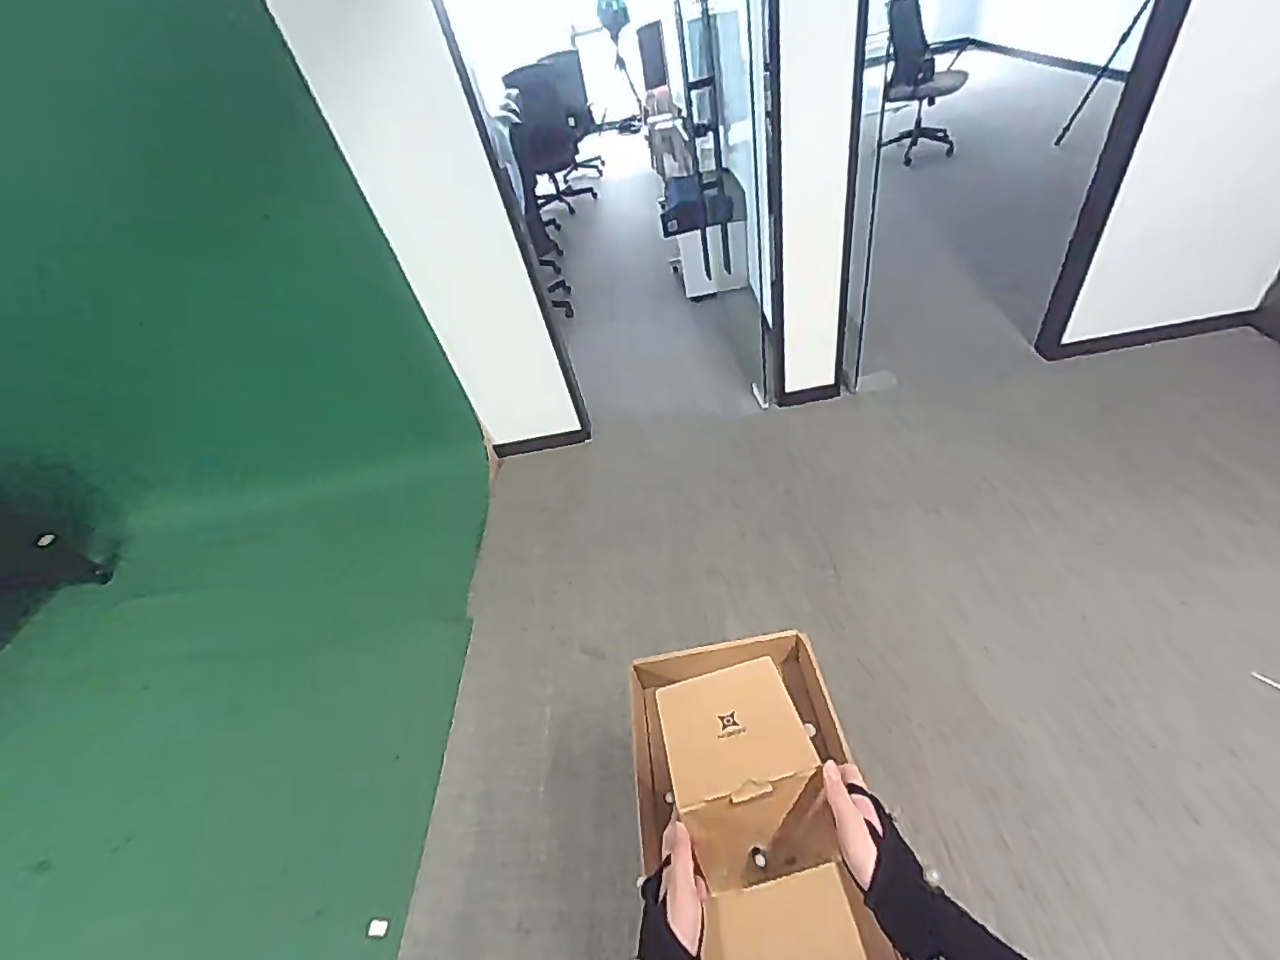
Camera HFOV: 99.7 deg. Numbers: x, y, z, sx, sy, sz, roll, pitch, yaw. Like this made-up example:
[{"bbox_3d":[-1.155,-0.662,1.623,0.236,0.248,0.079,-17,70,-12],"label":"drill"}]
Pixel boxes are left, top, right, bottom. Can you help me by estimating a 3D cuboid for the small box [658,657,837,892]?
[{"bbox_3d":[0.130,0.362,0.680,0.168,0.176,0.179,-16,25,-1],"label":"small box"}]
